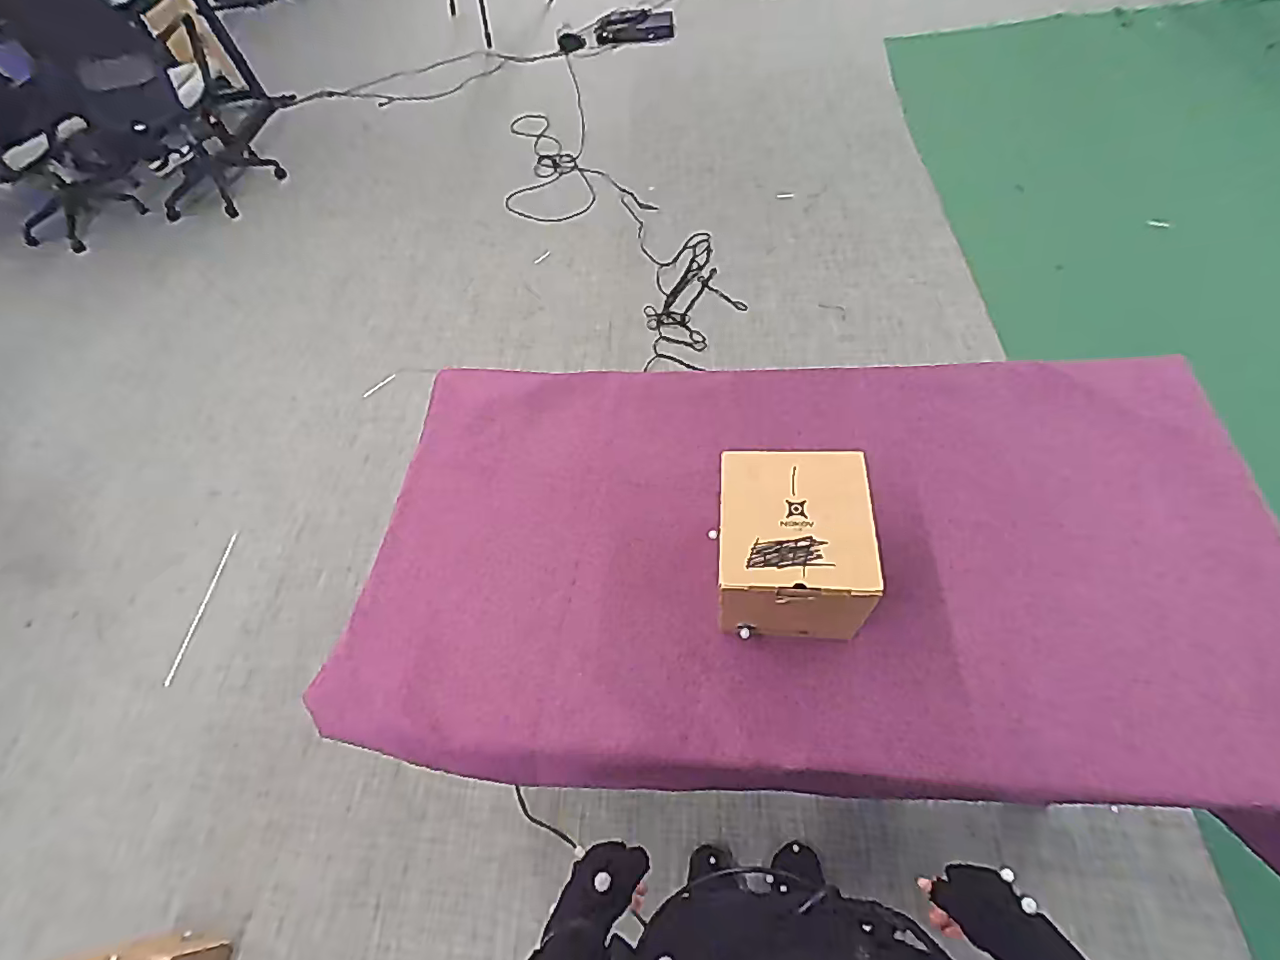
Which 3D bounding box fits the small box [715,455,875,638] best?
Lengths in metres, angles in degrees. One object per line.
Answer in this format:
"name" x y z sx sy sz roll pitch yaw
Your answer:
"small box" 0.182 0.087 0.674 0.168 0.176 0.179 1 58 9
